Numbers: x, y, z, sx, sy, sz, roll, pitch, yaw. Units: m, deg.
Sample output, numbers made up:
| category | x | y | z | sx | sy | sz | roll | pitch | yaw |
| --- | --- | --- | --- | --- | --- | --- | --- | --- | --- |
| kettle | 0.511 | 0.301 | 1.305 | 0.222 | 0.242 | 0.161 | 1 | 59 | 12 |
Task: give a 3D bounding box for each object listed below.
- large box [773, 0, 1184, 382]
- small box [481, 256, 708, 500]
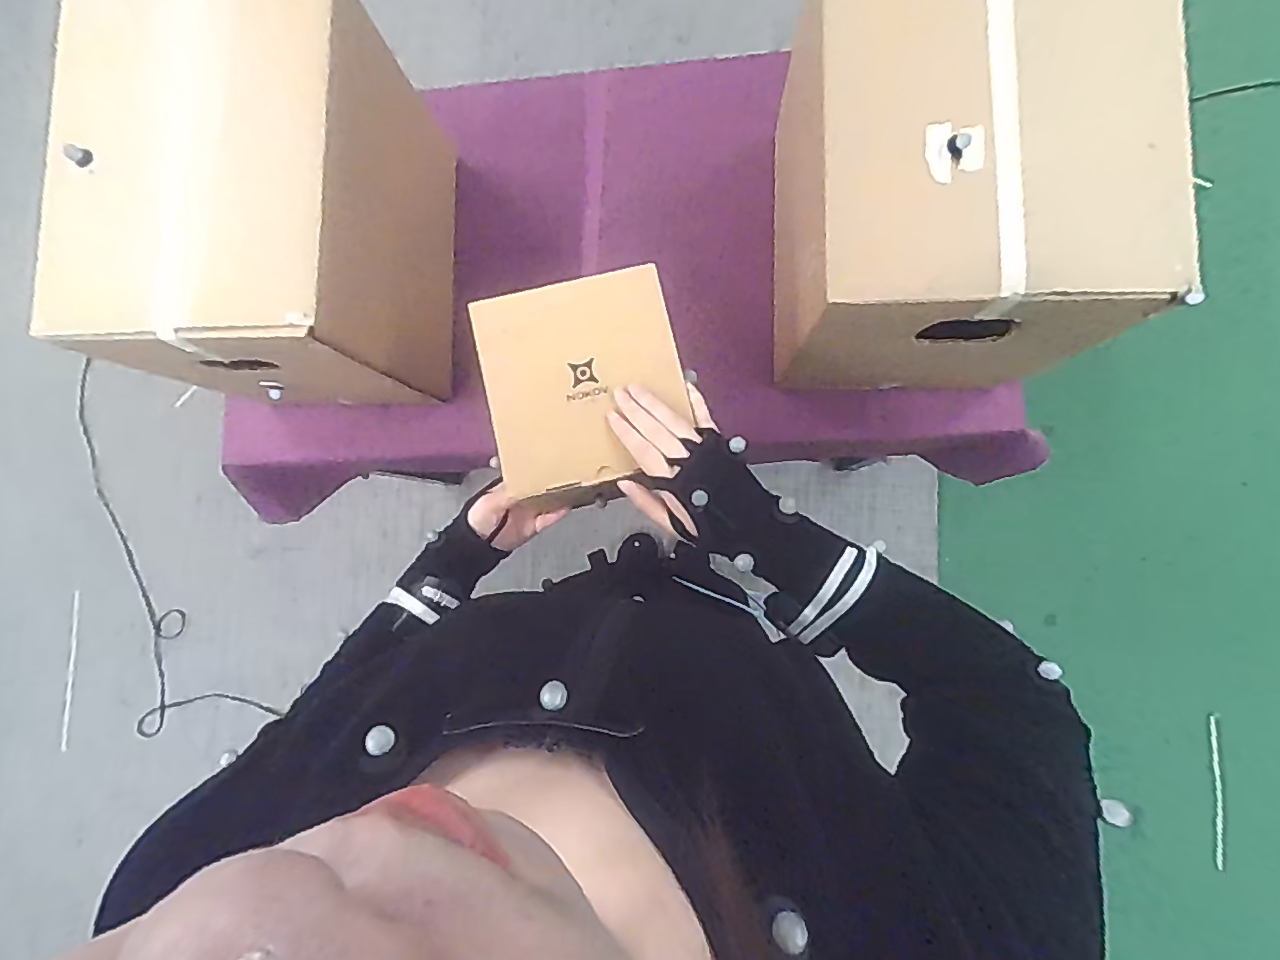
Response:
| category | x | y | z | sx | sy | sz | roll | pitch | yaw |
| --- | --- | --- | --- | --- | --- | --- | --- | --- | --- |
| large box | 0.345 | -0.352 | 0.652 | 0.320 | 0.320 | 0.408 | 1 | 86 | 5 |
| small box | -0.043 | -0.086 | 0.535 | 0.168 | 0.176 | 0.179 | -13 | 84 | -3 |
